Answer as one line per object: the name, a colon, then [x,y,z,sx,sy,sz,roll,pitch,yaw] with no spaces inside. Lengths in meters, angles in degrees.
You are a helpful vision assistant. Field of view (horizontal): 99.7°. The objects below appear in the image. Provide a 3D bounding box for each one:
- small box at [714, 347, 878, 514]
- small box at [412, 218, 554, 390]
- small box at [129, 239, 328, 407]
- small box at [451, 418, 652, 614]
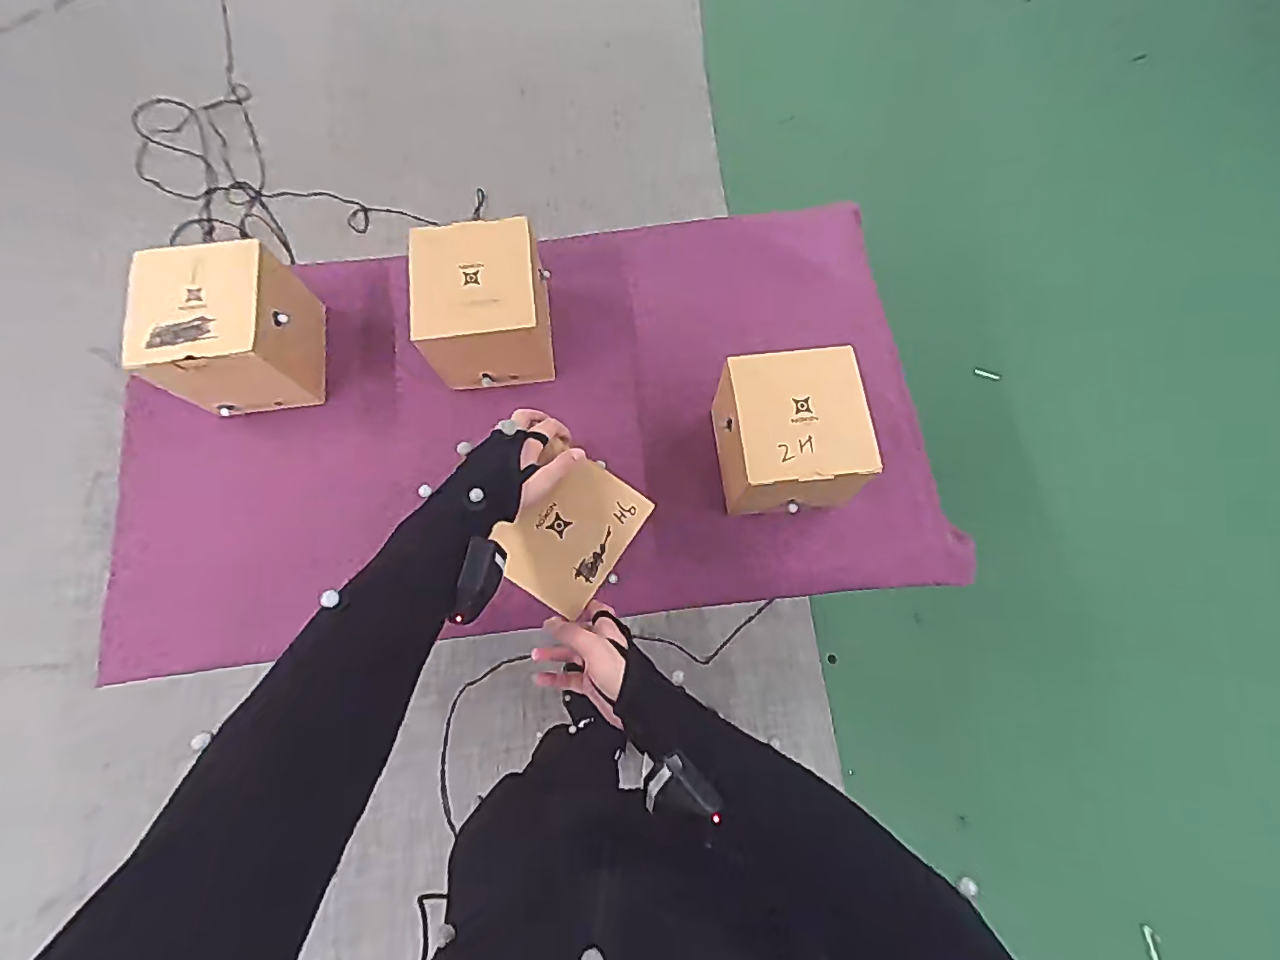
small box: [0.201,-0.062,0.751,0.168,0.176,0.179,-5,74,0]
small box: [-0.224,-0.253,0.804,0.168,0.176,0.179,-6,76,-1]
small box: [-0.580,-0.215,0.788,0.168,0.176,0.179,-7,75,-3]
small box: [-0.105,0.048,0.700,0.179,0.176,0.168,36,85,1]
